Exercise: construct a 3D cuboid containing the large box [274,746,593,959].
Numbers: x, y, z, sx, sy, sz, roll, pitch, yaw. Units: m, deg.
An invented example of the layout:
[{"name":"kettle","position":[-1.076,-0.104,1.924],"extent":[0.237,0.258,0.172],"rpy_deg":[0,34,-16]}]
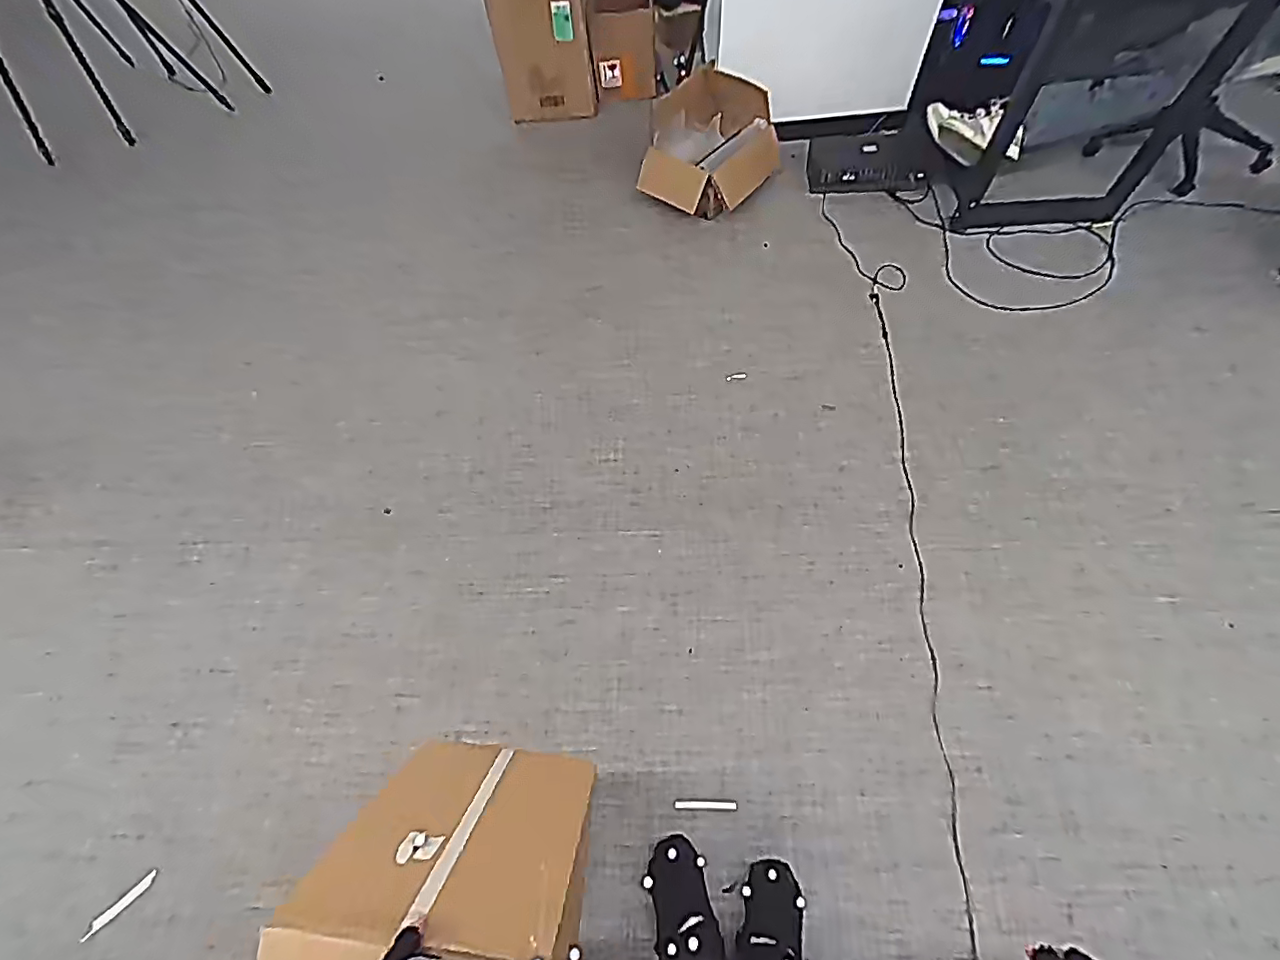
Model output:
[{"name":"large box","position":[-0.260,0.656,0.784],"extent":[0.320,0.408,0.320],"rpy_deg":[6,92,3]}]
